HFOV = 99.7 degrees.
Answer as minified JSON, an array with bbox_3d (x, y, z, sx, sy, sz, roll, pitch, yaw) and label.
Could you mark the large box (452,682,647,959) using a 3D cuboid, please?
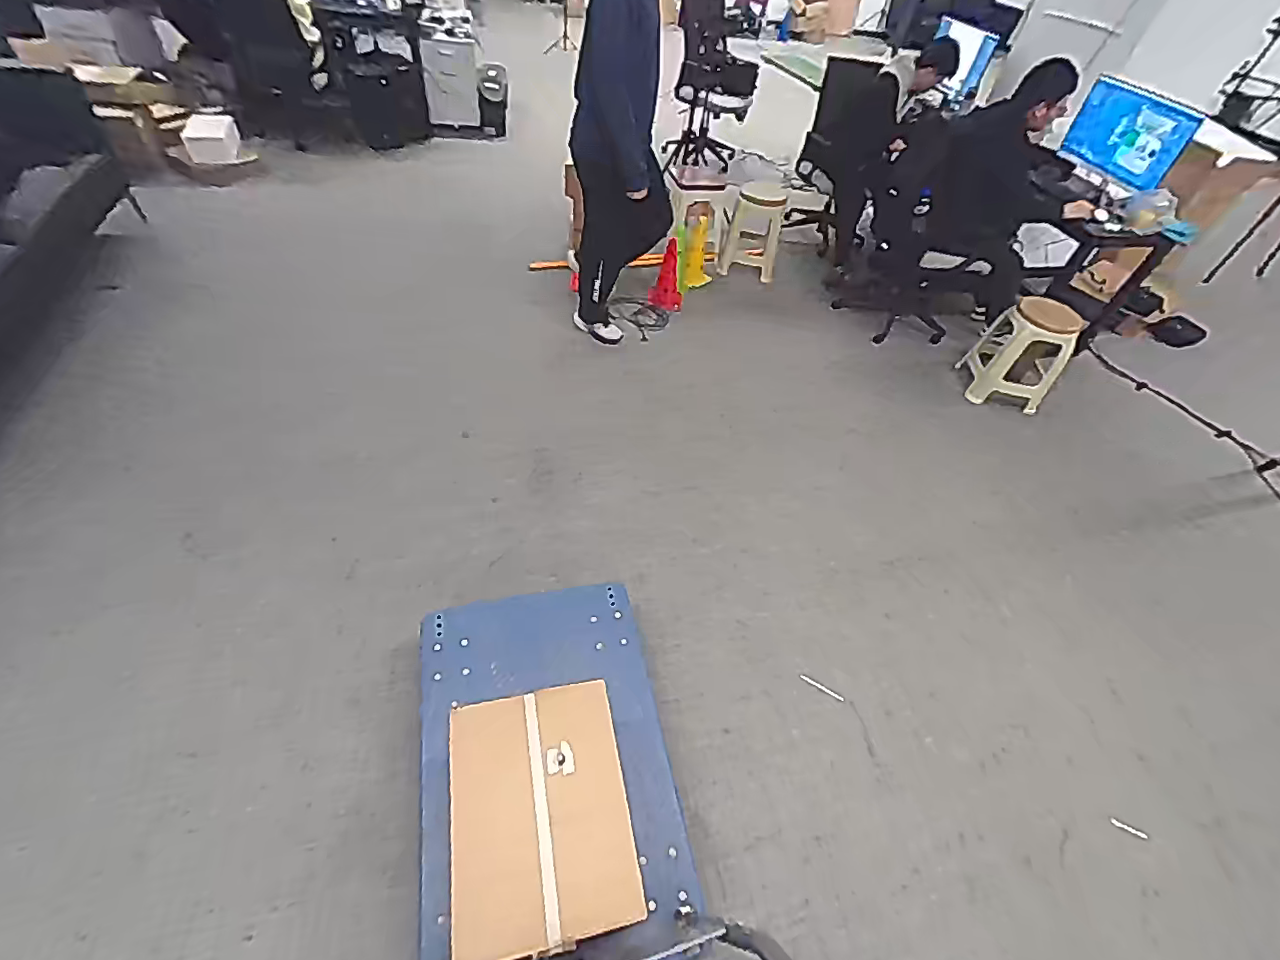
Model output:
[{"bbox_3d":[-0.194,0.689,1.101,0.320,0.320,0.408,-6,51,-13],"label":"large box"}]
